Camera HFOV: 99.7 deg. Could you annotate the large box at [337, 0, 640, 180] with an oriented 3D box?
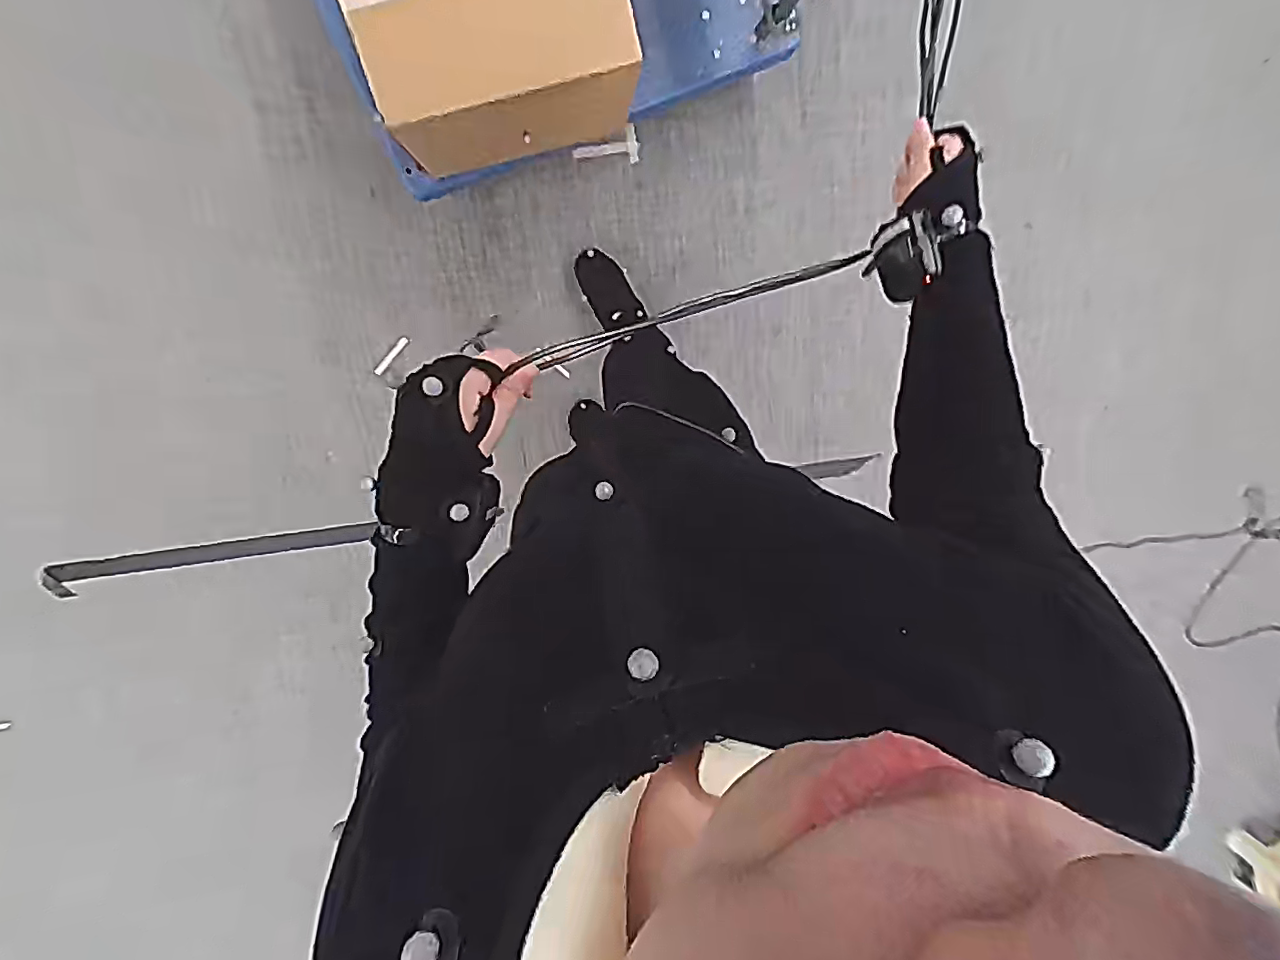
[{"bbox_3d":[-0.244,-0.753,0.907,0.408,0.320,0.320,-17,107,-2],"label":"large box"}]
